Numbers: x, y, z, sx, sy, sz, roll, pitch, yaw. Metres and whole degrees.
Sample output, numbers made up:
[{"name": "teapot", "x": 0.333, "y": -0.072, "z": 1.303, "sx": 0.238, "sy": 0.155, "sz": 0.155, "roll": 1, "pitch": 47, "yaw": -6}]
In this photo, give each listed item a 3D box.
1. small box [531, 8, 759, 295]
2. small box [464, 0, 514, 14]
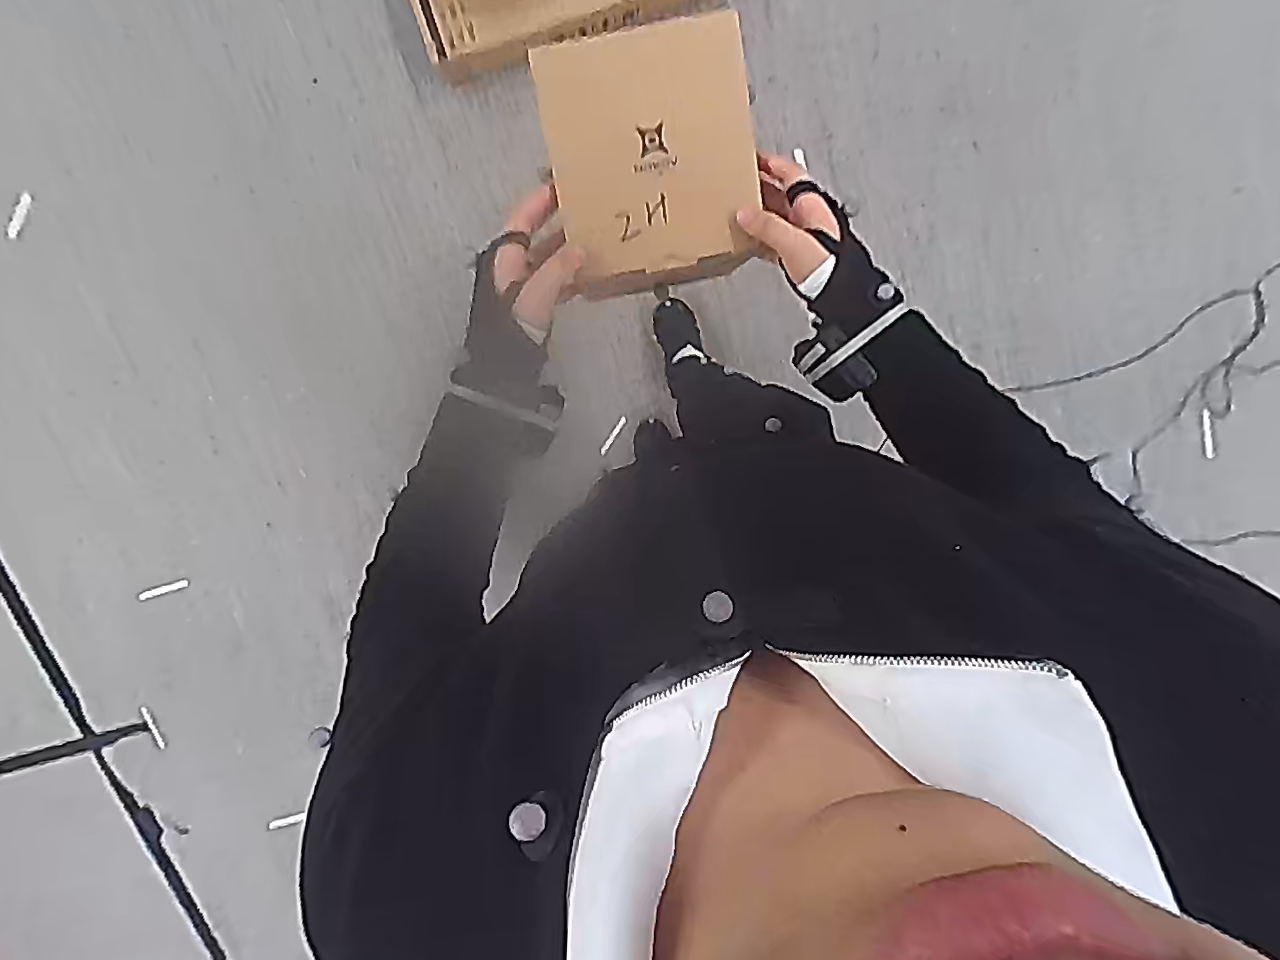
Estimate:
[{"name": "small box", "x": 0.003, "y": -0.288, "z": 0.516, "sx": 0.168, "sy": 0.176, "sz": 0.179, "roll": -11, "pitch": 103, "yaw": 0}, {"name": "small box", "x": -0.326, "y": -1.116, "z": 1.097, "sx": 0.168, "sy": 0.176, "sz": 0.179, "roll": -18, "pitch": 100, "yaw": 3}]
